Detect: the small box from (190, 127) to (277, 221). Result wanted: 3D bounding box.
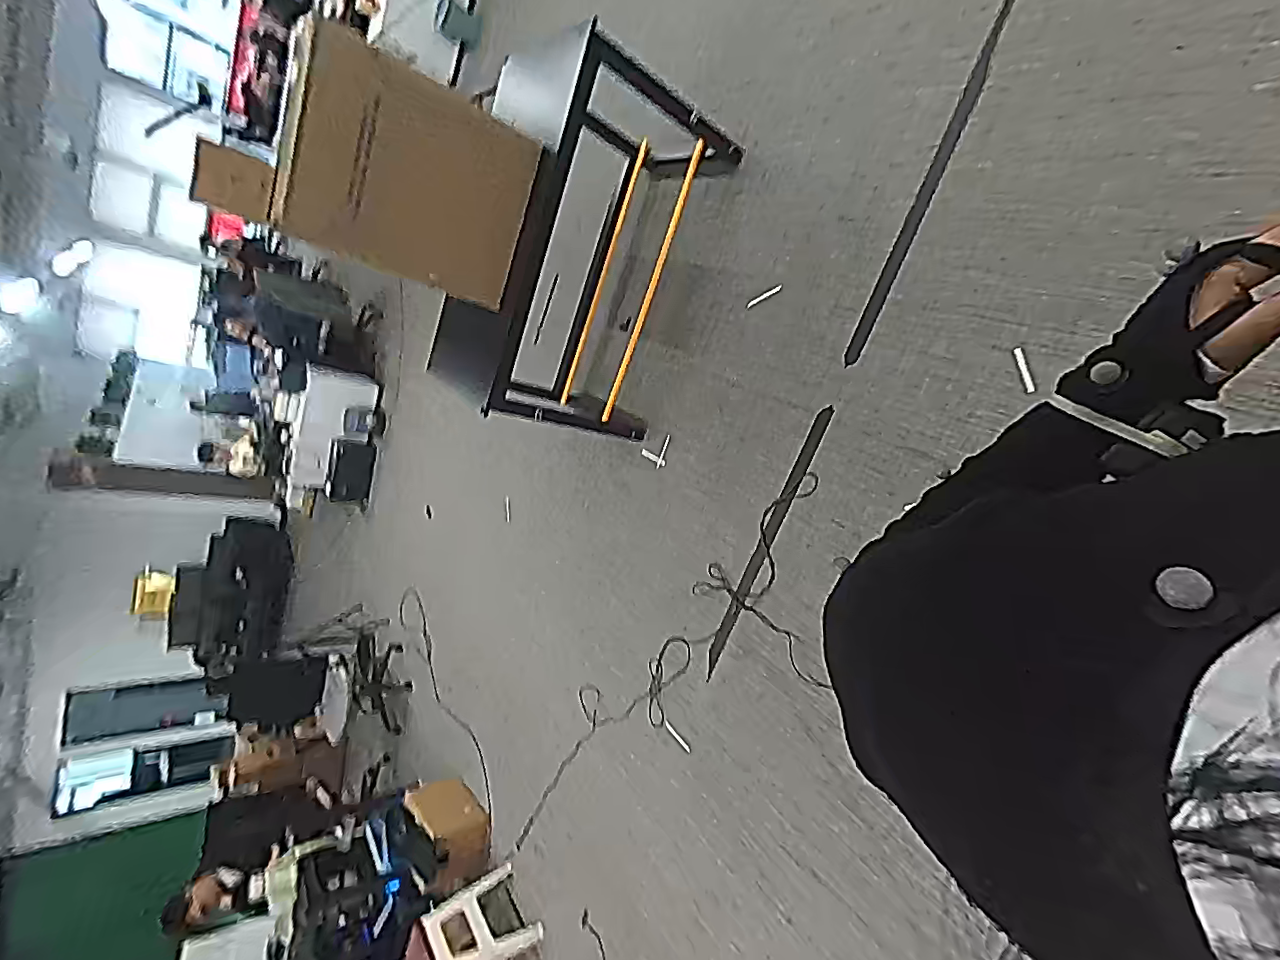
[{"bbox_3d":[-1.096,-0.815,1.458,0.179,0.176,0.168,29,105,47],"label":"small box"}]
